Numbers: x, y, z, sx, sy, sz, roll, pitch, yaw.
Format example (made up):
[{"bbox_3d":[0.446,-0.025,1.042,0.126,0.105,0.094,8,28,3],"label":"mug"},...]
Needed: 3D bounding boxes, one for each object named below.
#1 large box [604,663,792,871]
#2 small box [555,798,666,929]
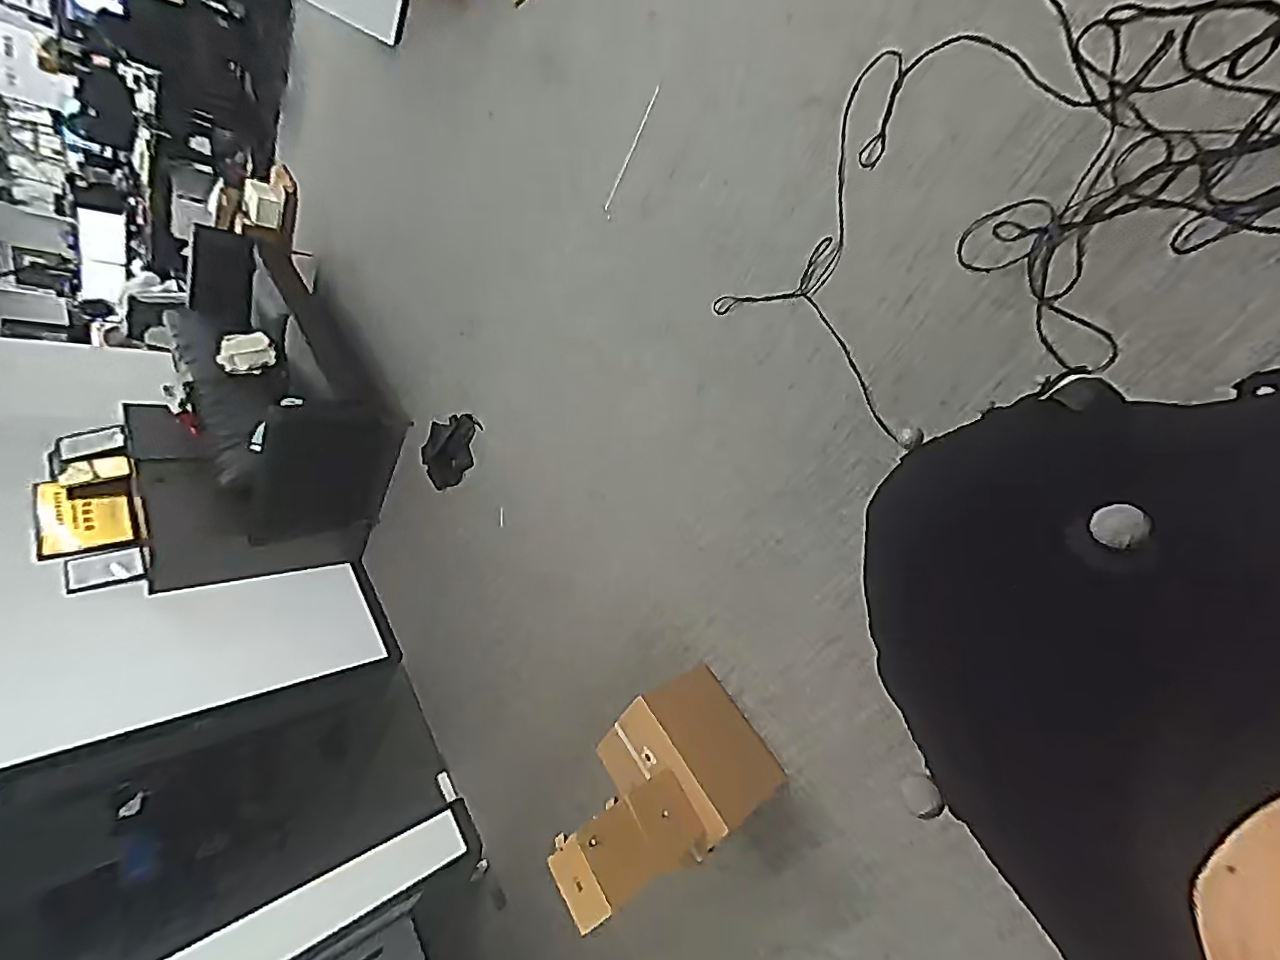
[{"bbox_3d":[0.167,0.840,1.631,0.408,0.320,0.320,51,124,30],"label":"large box"},{"bbox_3d":[-0.069,0.912,1.299,0.179,0.176,0.168,51,125,29],"label":"small box"}]
